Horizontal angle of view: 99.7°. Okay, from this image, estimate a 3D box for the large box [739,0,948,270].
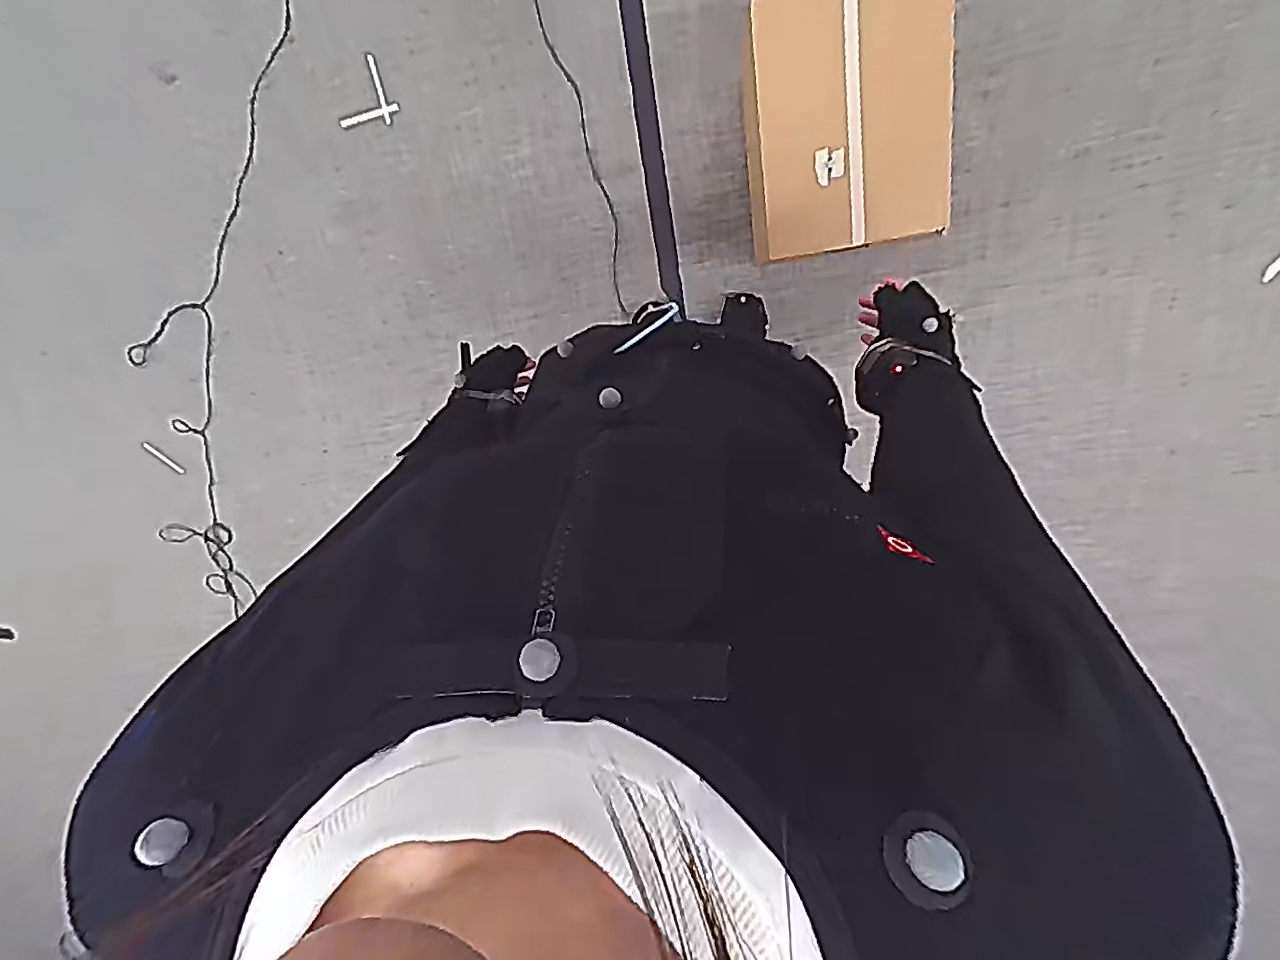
[{"bbox_3d":[0.379,-0.655,1.063,0.320,0.320,0.408,-7,109,10],"label":"large box"}]
